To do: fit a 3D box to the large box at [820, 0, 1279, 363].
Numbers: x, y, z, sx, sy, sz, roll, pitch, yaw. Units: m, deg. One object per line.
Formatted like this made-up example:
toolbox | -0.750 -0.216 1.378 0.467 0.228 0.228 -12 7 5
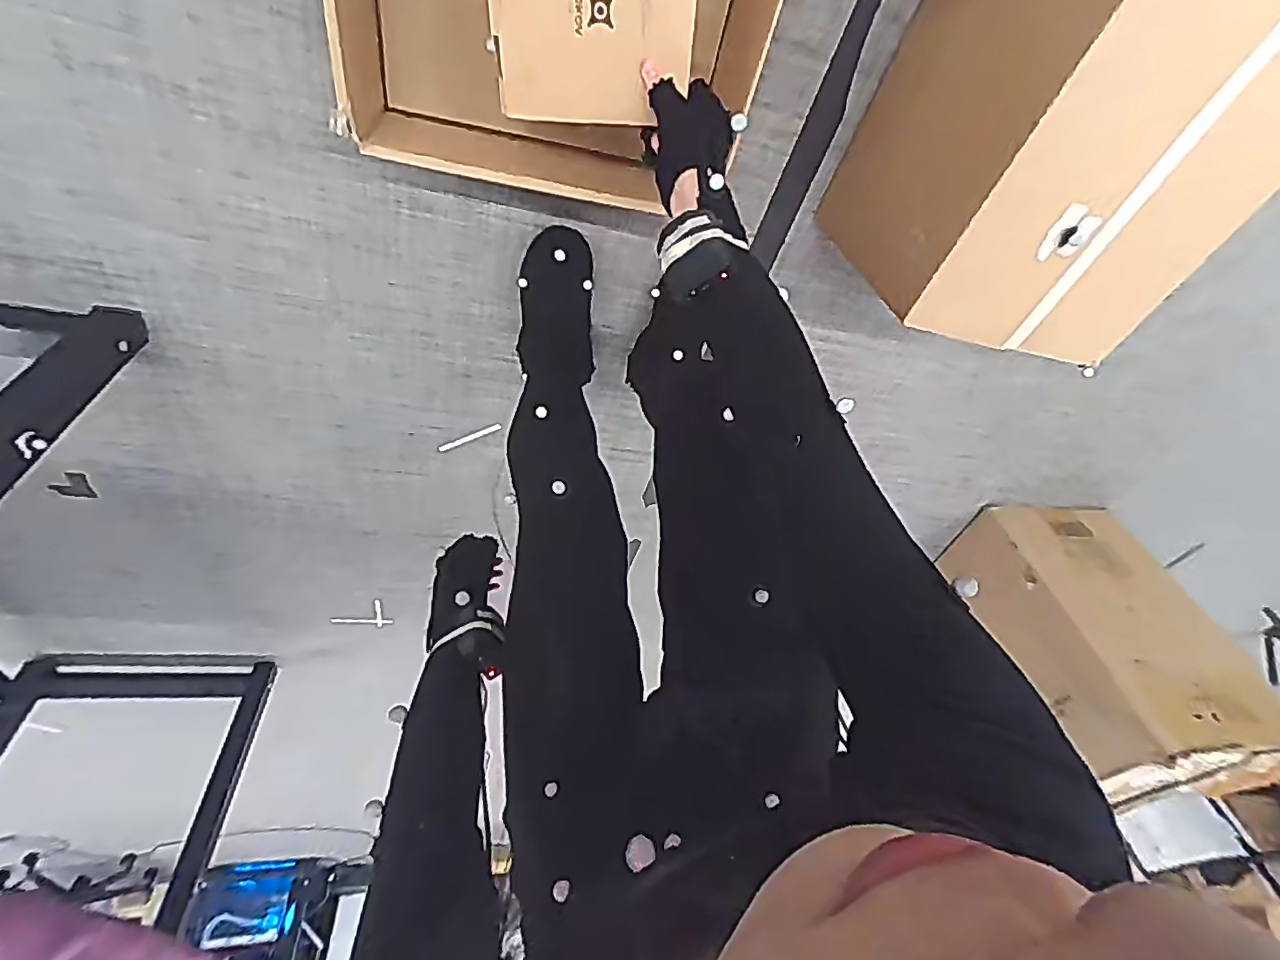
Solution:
large box | 0.484 -0.410 0.635 0.320 0.320 0.408 7 135 -15
